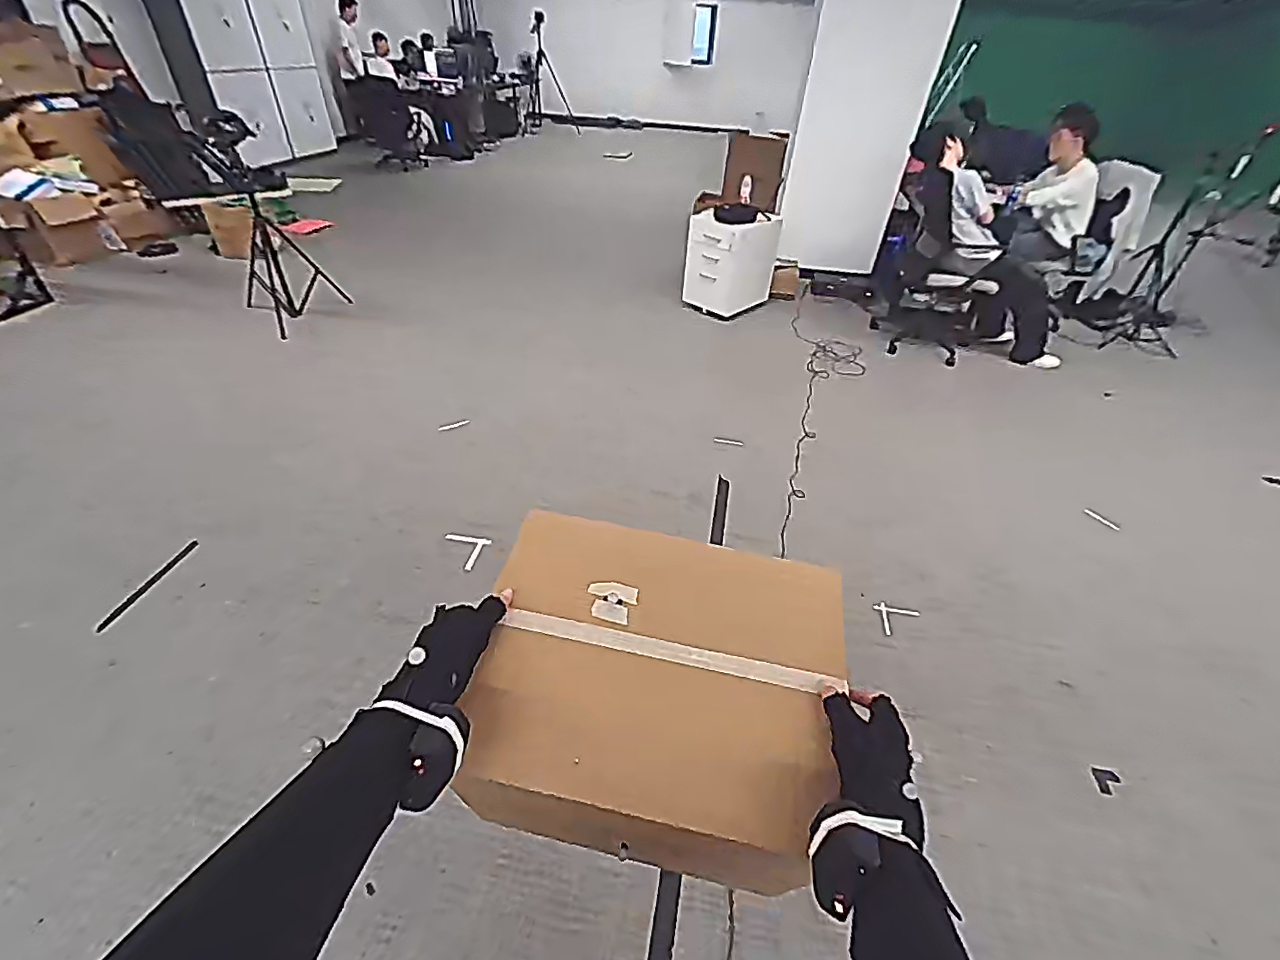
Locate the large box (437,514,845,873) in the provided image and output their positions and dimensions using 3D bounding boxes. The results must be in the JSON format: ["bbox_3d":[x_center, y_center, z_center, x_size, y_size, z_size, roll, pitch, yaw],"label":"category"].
[{"bbox_3d":[0.017,0.287,0.720,0.408,0.320,0.320,11,49,6],"label":"large box"}]
